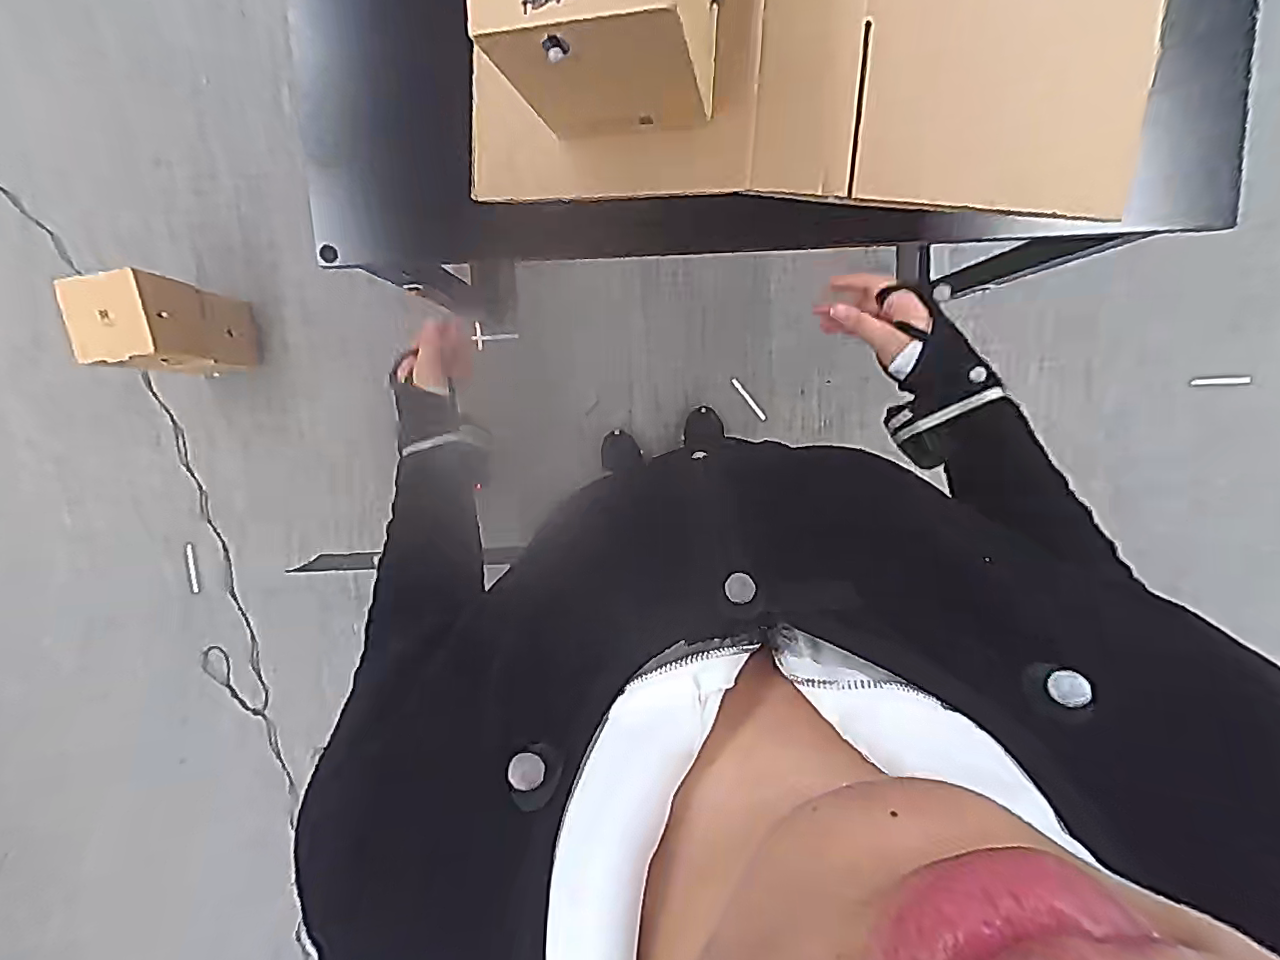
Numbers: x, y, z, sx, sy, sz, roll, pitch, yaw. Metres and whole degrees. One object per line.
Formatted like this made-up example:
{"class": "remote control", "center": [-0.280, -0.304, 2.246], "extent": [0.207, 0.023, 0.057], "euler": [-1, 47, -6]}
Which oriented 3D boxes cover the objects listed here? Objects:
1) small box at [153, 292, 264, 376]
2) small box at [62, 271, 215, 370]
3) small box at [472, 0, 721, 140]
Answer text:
{"class": "small box", "center": [-1.093, -0.361, 1.361], "extent": [0.168, 0.176, 0.179], "euler": [-6, 99, 1]}
{"class": "small box", "center": [-1.095, -0.344, 1.199], "extent": [0.168, 0.176, 0.179], "euler": [-9, 97, 0]}
{"class": "small box", "center": [-0.024, -0.428, 0.462], "extent": [0.168, 0.176, 0.179], "euler": [5, 98, 15]}
